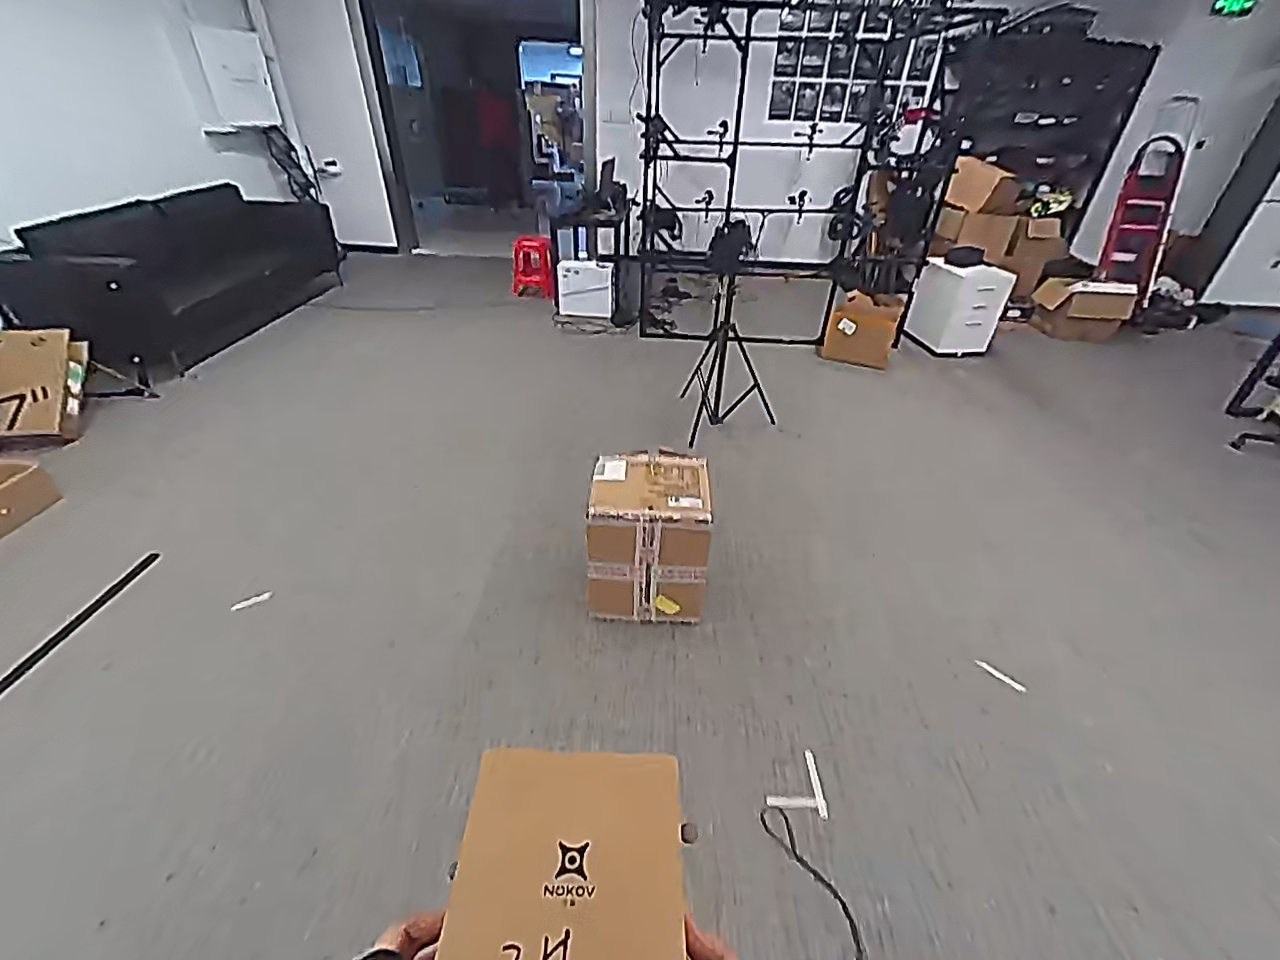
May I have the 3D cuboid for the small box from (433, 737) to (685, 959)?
[{"bbox_3d":[-0.053,0.340,0.445,0.168,0.176,0.179,2,38,0],"label":"small box"}]
